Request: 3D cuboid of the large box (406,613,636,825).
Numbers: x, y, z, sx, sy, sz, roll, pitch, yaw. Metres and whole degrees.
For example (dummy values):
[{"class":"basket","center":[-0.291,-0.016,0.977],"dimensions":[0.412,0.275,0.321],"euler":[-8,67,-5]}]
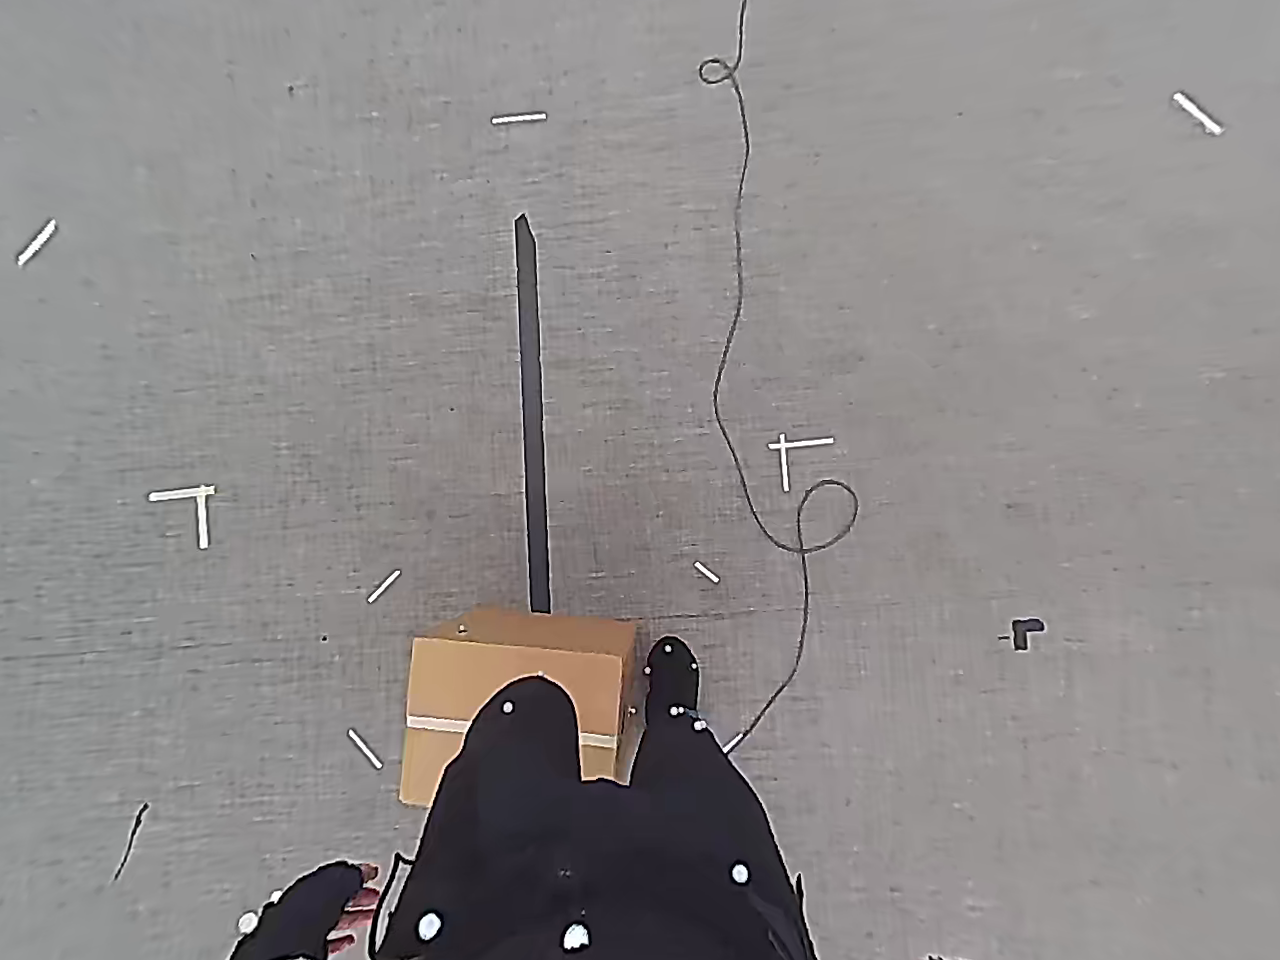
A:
[{"class":"large box","center":[-0.226,0.476,1.155],"dimensions":[0.408,0.320,0.320],"euler":[4,88,4]}]
